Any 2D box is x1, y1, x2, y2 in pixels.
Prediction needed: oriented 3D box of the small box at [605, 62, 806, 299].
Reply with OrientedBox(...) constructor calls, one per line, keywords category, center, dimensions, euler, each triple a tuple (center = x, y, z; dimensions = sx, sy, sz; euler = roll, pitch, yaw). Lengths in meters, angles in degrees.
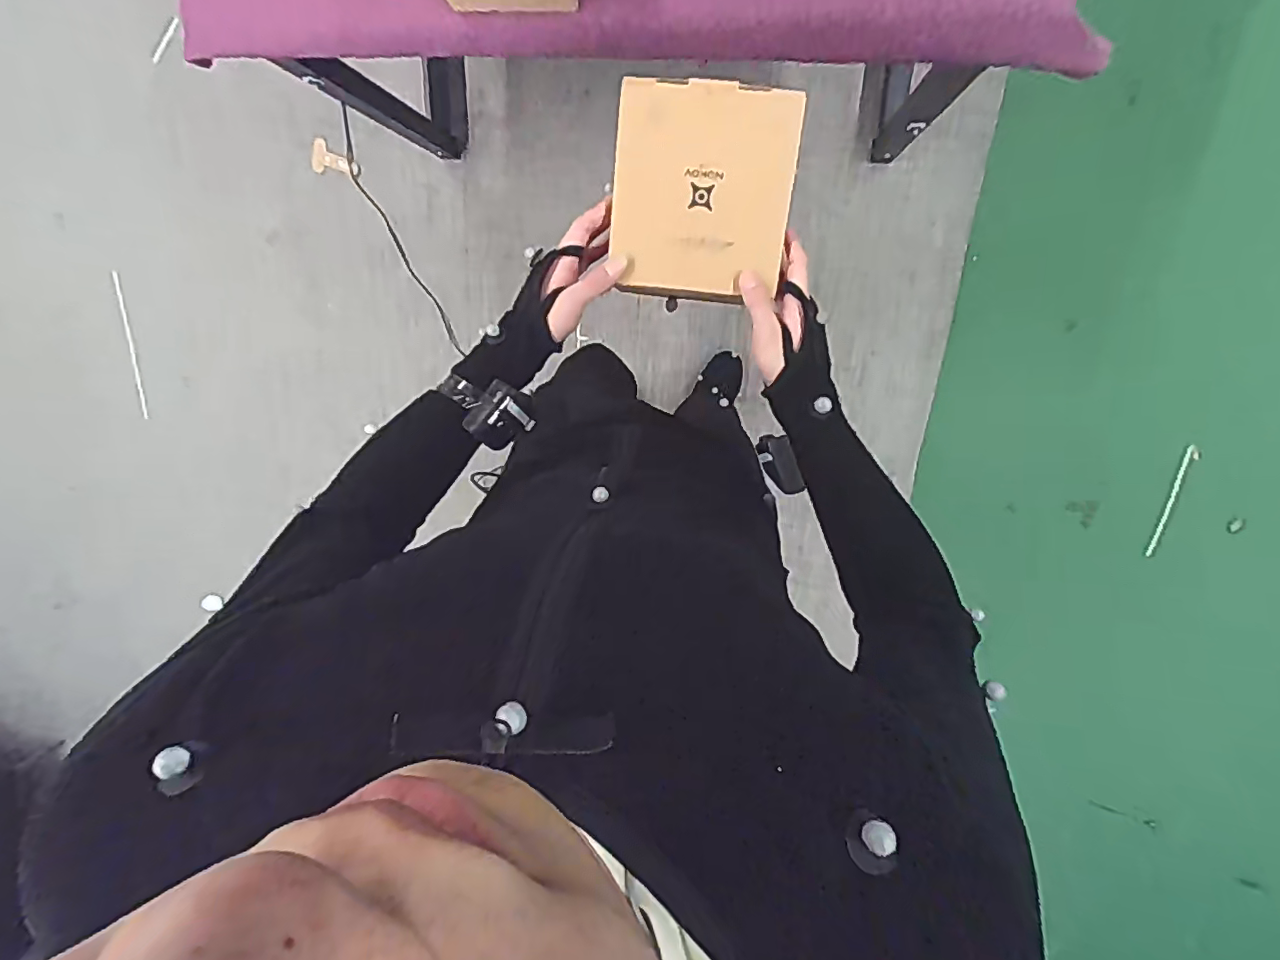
OrientedBox(category="small box", center=(0.060, -0.295, 0.570), dimensions=(0.168, 0.176, 0.179), euler=(7, 106, 2))
